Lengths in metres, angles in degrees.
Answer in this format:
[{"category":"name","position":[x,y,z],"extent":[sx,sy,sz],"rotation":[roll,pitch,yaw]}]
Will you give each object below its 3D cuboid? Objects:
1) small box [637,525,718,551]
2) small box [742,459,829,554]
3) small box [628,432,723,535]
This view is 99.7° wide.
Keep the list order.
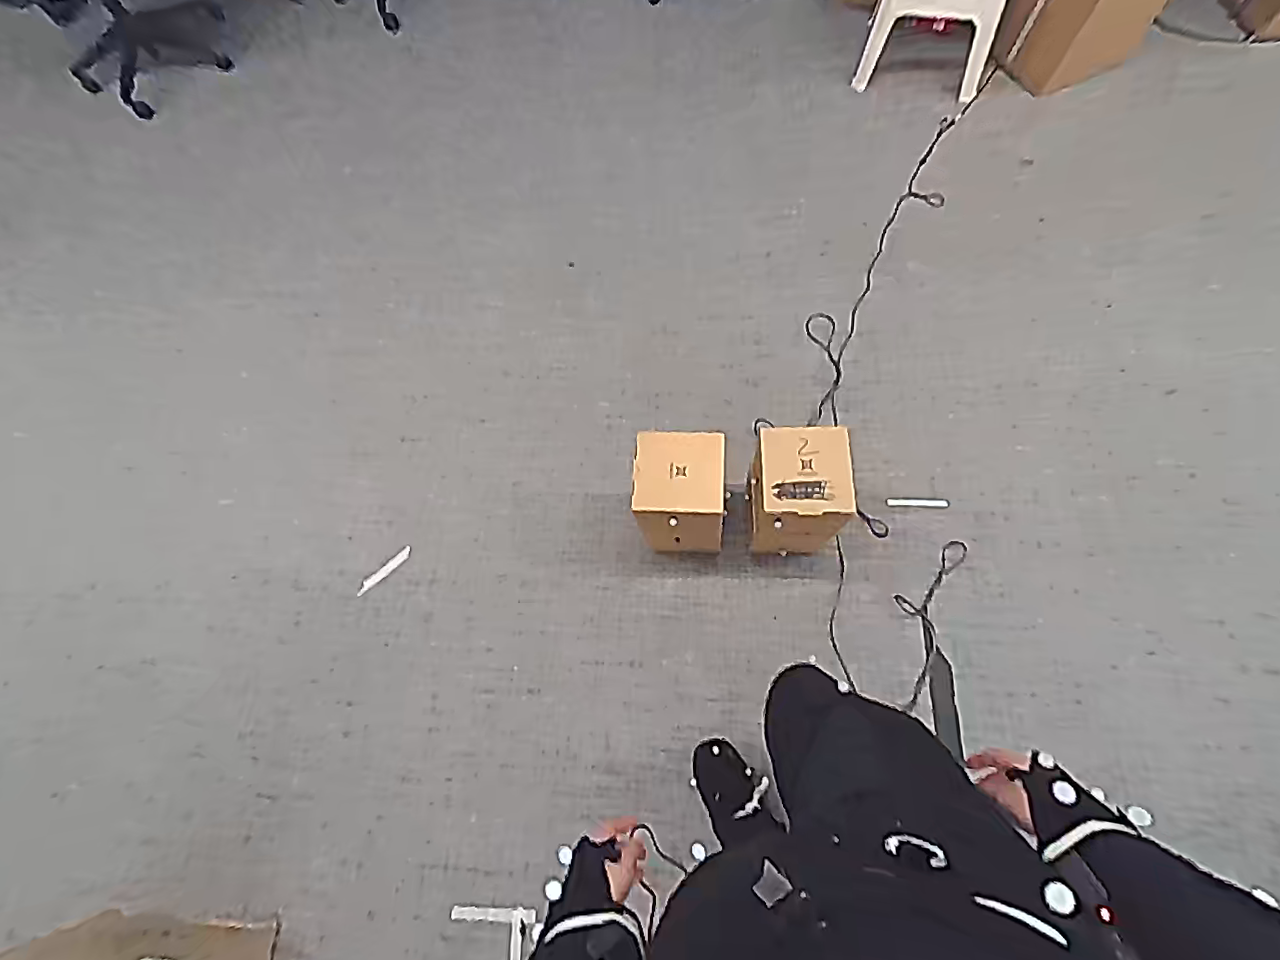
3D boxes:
[{"category":"small box","position":[0.095,0.068,1.264],"extent":[0.179,0.176,0.168],"rotation":[0,70,7]},{"category":"small box","position":[0.325,0.064,1.241],"extent":[0.168,0.176,0.179],"rotation":[0,70,6]},{"category":"small box","position":[0.078,0.012,1.113],"extent":[0.179,0.176,0.168],"rotation":[1,69,8]}]
